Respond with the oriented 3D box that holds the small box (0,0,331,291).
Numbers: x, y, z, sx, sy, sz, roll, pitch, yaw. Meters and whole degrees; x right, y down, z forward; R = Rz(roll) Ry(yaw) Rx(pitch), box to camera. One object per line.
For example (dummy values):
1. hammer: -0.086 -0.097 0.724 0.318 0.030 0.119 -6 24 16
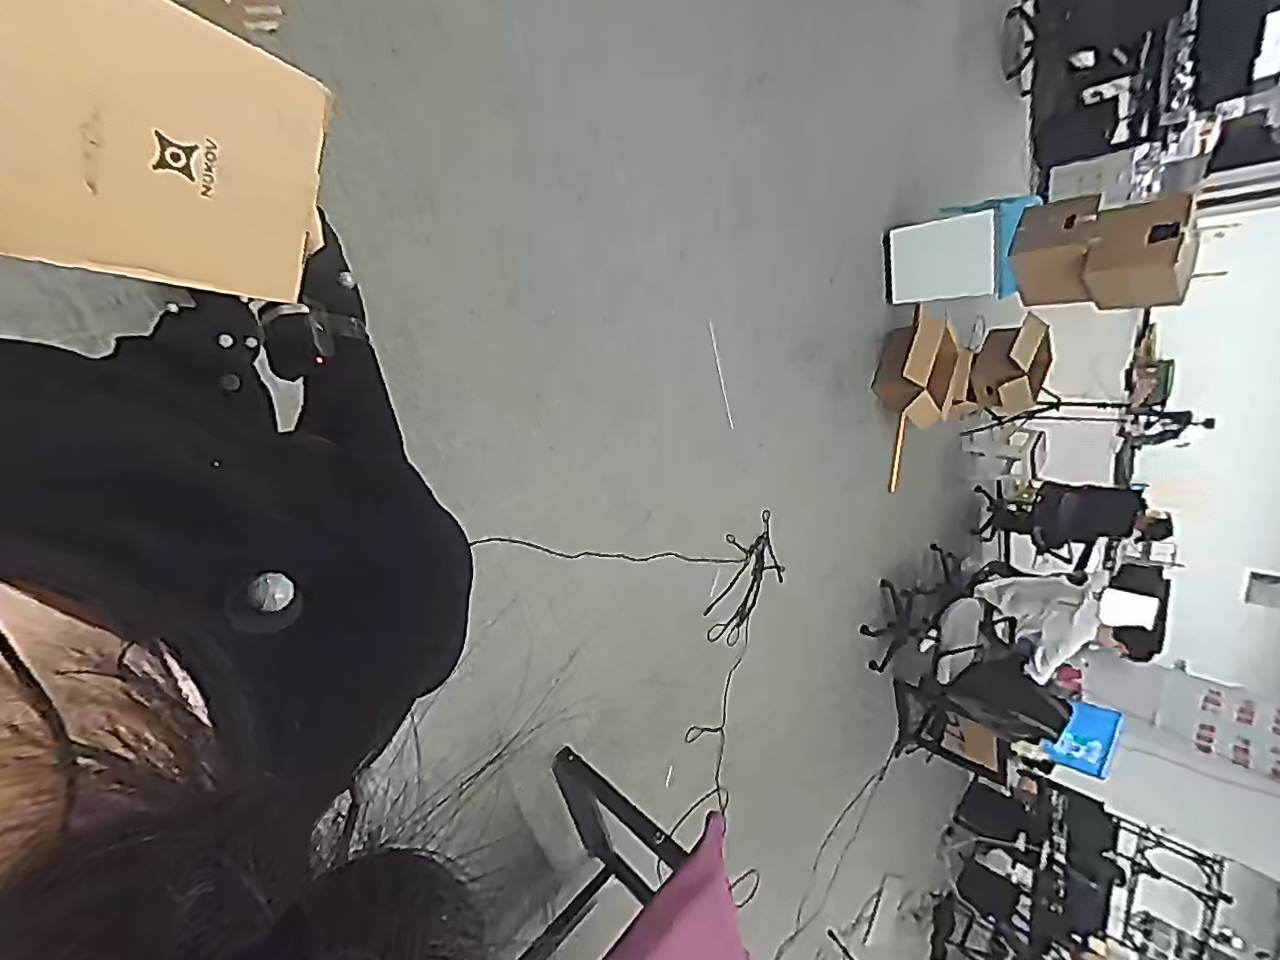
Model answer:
1. small box: -0.355 -0.251 0.364 0.179 0.176 0.168 -13 129 -62
